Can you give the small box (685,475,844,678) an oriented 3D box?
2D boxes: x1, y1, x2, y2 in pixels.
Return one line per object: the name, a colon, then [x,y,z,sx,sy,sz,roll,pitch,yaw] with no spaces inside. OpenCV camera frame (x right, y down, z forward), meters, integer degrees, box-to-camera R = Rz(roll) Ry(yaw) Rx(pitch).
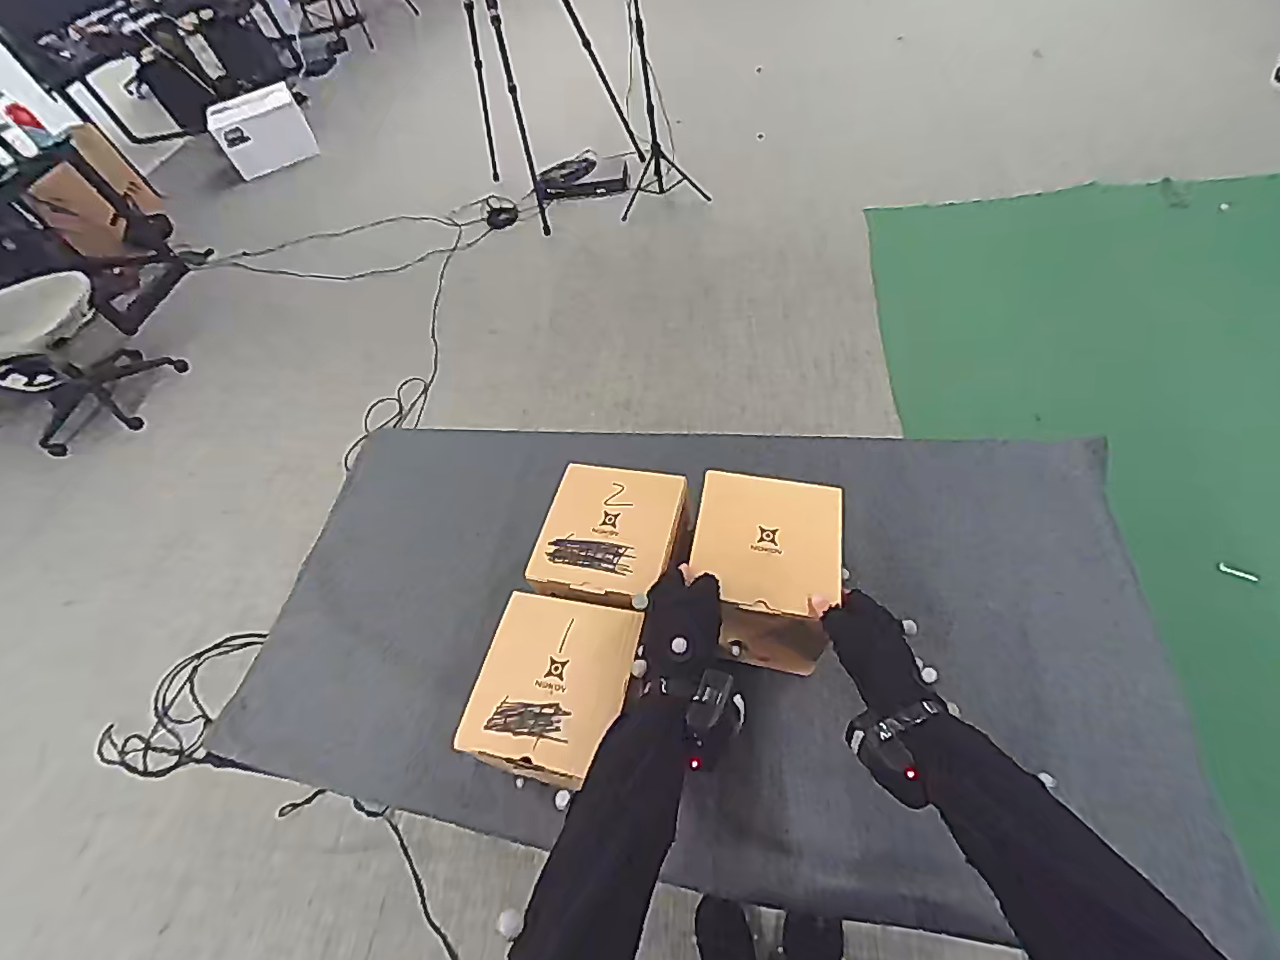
small box: [0.150,0.122,0.678,0.168,0.176,0.179,9,53,11]
